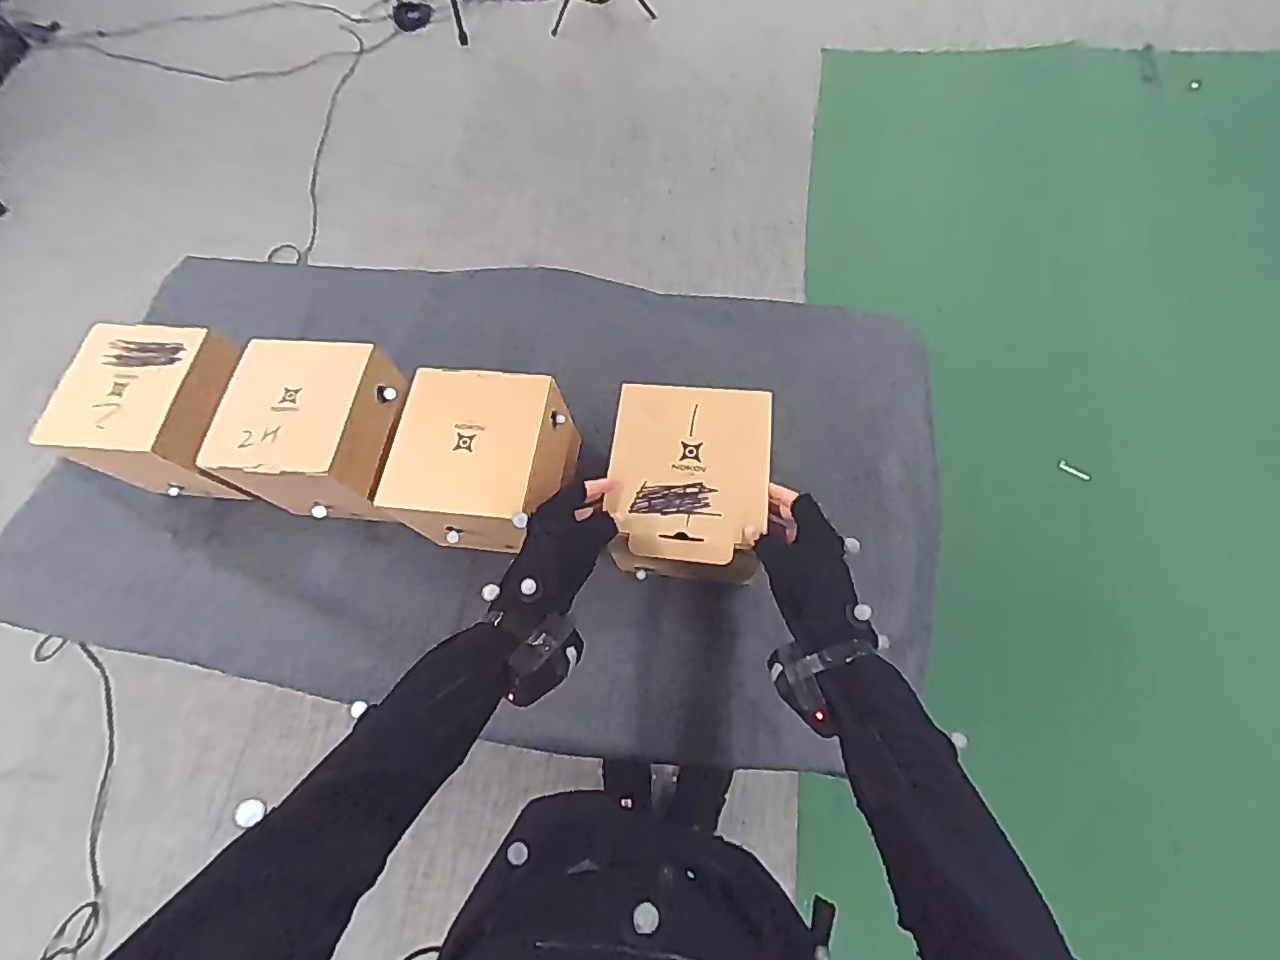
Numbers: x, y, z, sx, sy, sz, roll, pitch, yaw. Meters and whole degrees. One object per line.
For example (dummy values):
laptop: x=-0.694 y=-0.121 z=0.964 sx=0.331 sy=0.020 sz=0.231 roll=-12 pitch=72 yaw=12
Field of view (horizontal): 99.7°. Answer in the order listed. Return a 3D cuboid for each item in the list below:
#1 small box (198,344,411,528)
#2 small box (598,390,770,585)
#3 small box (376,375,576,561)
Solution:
small box: x=-0.401 y=-0.052 z=0.703 sx=0.168 sy=0.176 sz=0.179 roll=4 pitch=67 yaw=7
small box: x=0.056 y=0.017 z=0.632 sx=0.168 sy=0.176 sz=0.179 roll=5 pitch=67 yaw=7
small box: x=-0.184 y=-0.007 z=0.667 sx=0.168 sy=0.176 sz=0.179 roll=5 pitch=67 yaw=7
